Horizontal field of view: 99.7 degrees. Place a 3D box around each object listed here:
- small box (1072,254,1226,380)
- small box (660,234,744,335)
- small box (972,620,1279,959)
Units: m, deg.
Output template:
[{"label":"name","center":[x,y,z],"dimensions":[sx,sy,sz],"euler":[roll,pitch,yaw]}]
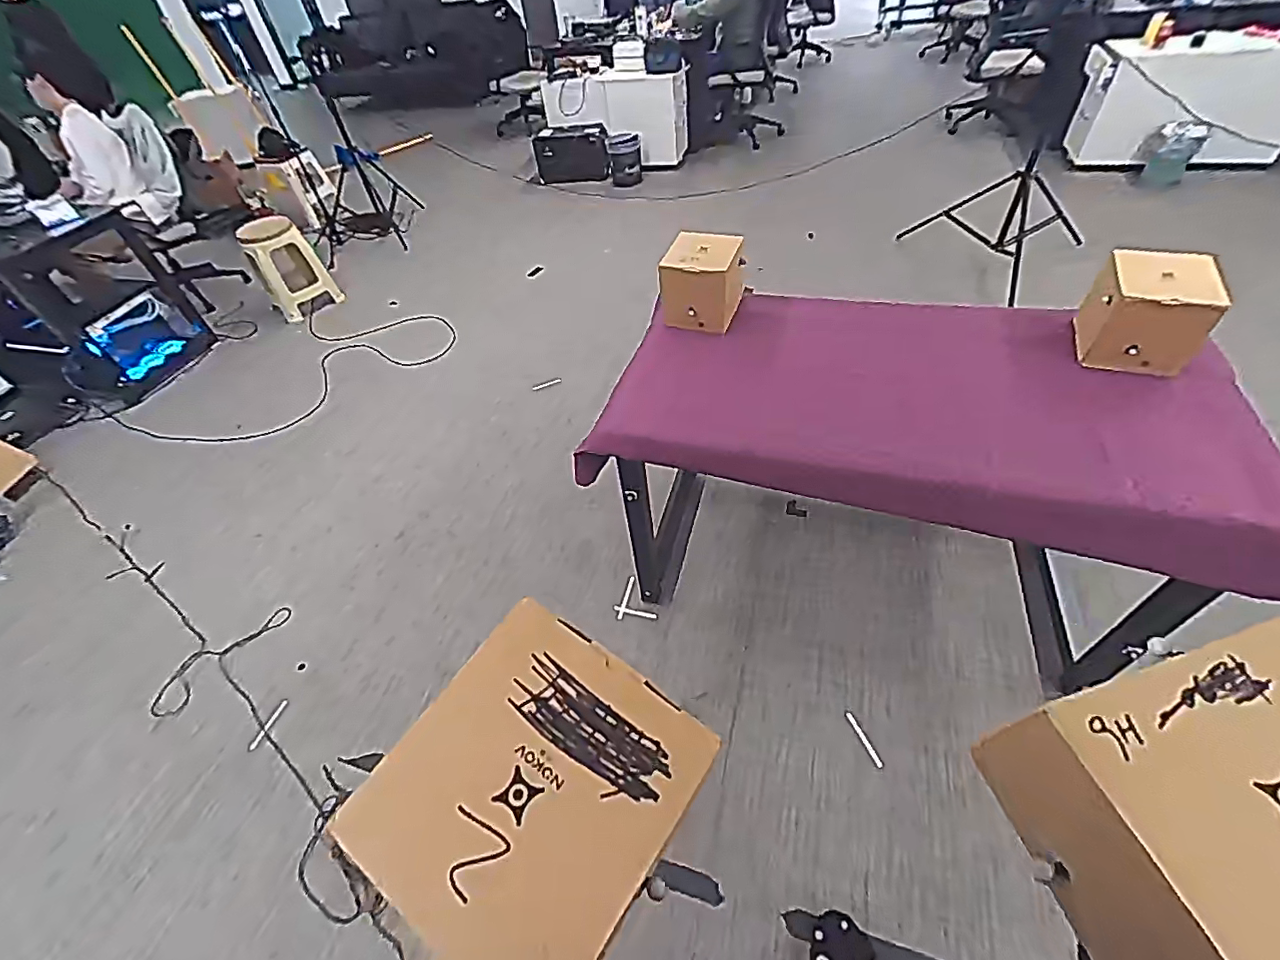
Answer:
[{"label":"small box","center":[1.024,-0.334,1.109],"dimensions":[0.168,0.176,0.179],"euler":[13,55,18]},{"label":"small box","center":[0.158,-0.492,1.362],"dimensions":[0.168,0.176,0.179],"euler":[13,53,18]},{"label":"small box","center":[0.365,0.222,0.353],"dimensions":[0.168,0.176,0.179],"euler":[-20,54,-1]}]
